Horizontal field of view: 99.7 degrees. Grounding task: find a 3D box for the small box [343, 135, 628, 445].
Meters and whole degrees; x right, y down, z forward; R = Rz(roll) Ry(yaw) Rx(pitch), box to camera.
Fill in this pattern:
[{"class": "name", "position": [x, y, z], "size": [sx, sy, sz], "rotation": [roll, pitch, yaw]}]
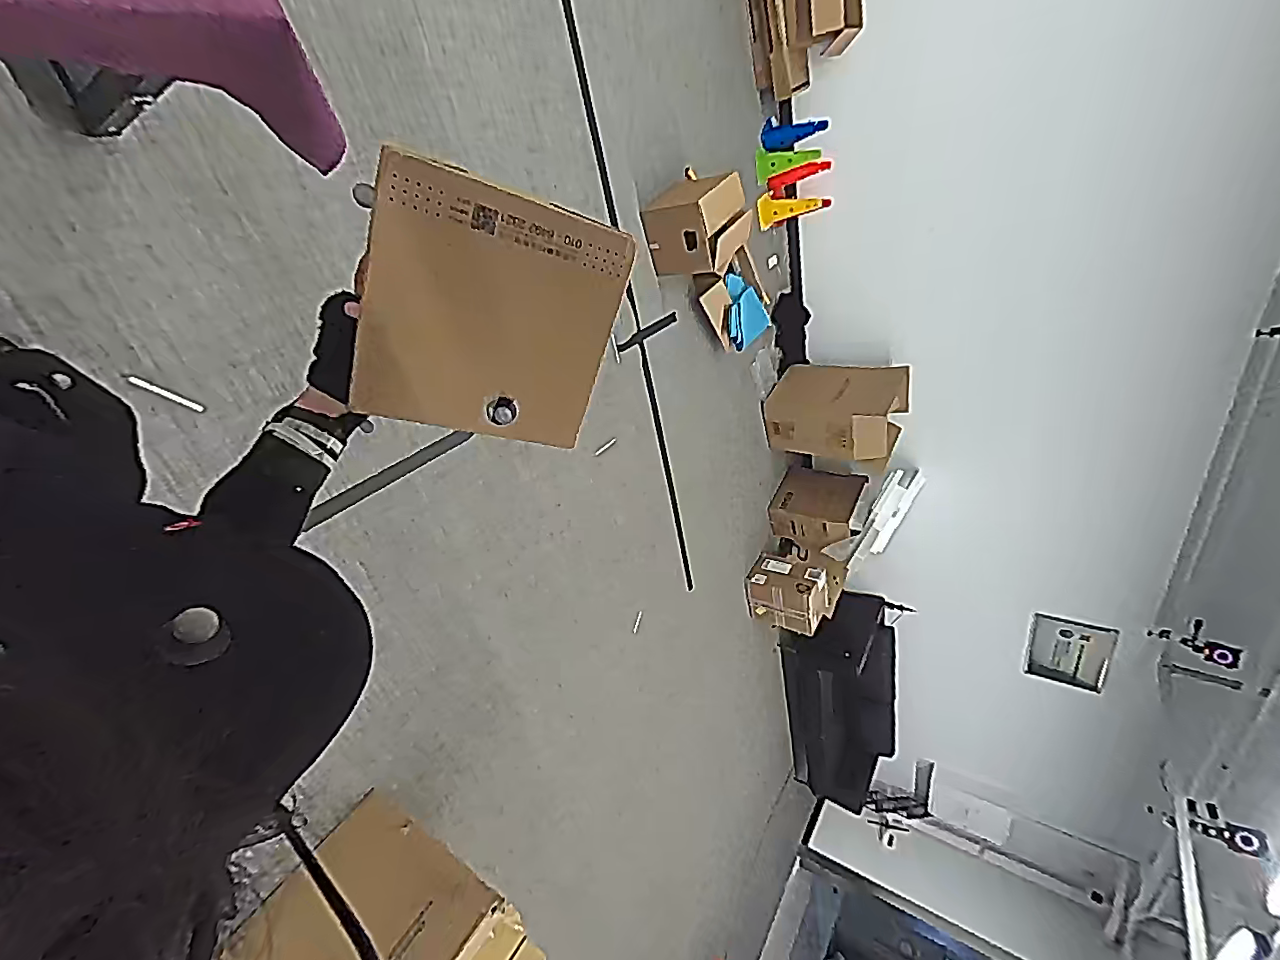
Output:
[{"class": "small box", "position": [-0.126, -0.153, 0.430], "size": [0.168, 0.179, 0.176], "rotation": [9, 117, -26]}]
